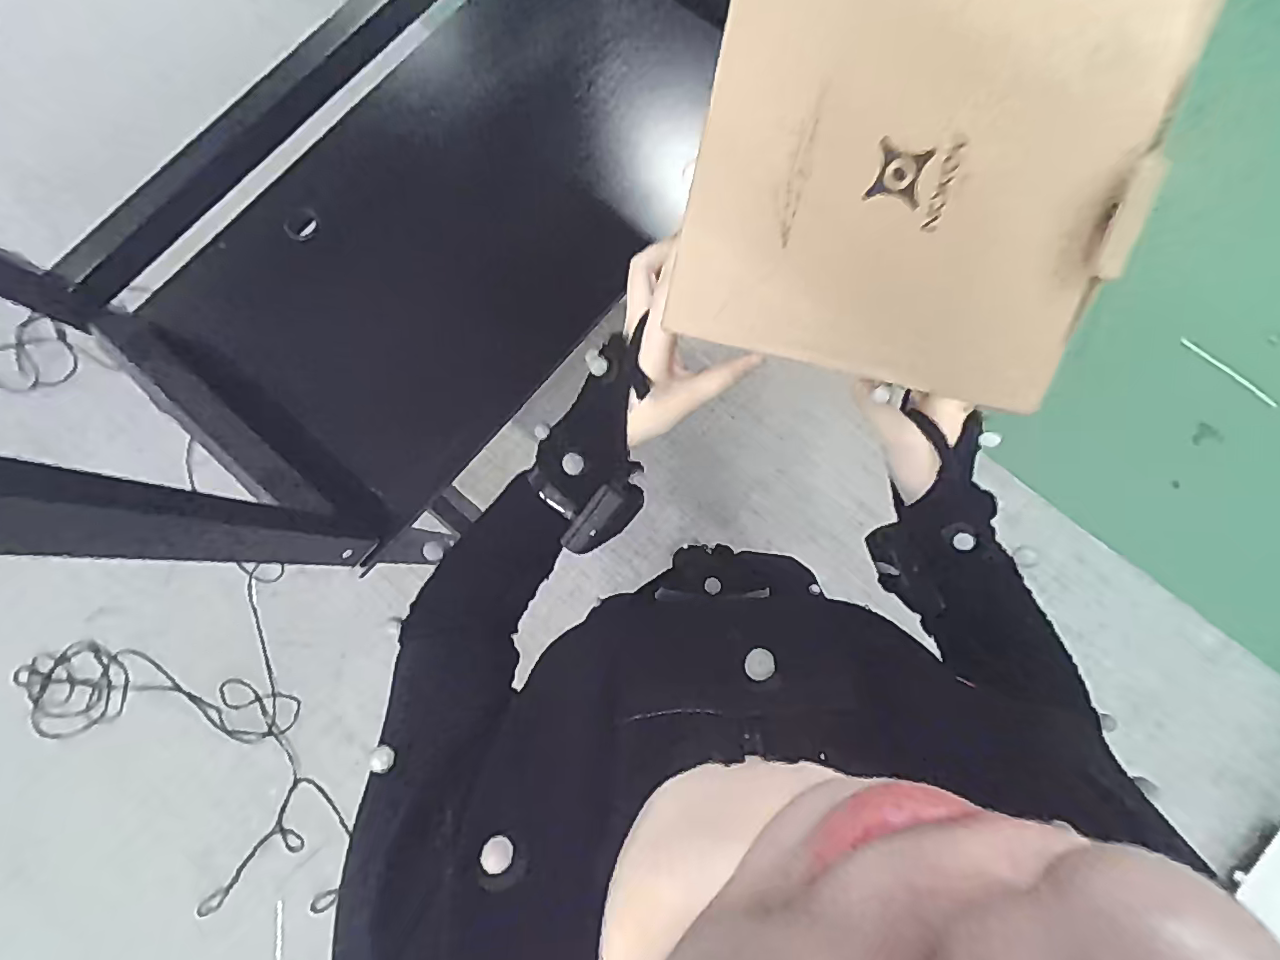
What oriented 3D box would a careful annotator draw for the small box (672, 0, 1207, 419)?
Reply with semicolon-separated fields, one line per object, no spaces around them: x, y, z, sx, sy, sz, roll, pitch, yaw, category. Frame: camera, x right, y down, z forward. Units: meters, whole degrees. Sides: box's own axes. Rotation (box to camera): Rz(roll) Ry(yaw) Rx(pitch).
0.124;-0.143;0.307;0.179;0.176;0.168;13;106;4;small box
